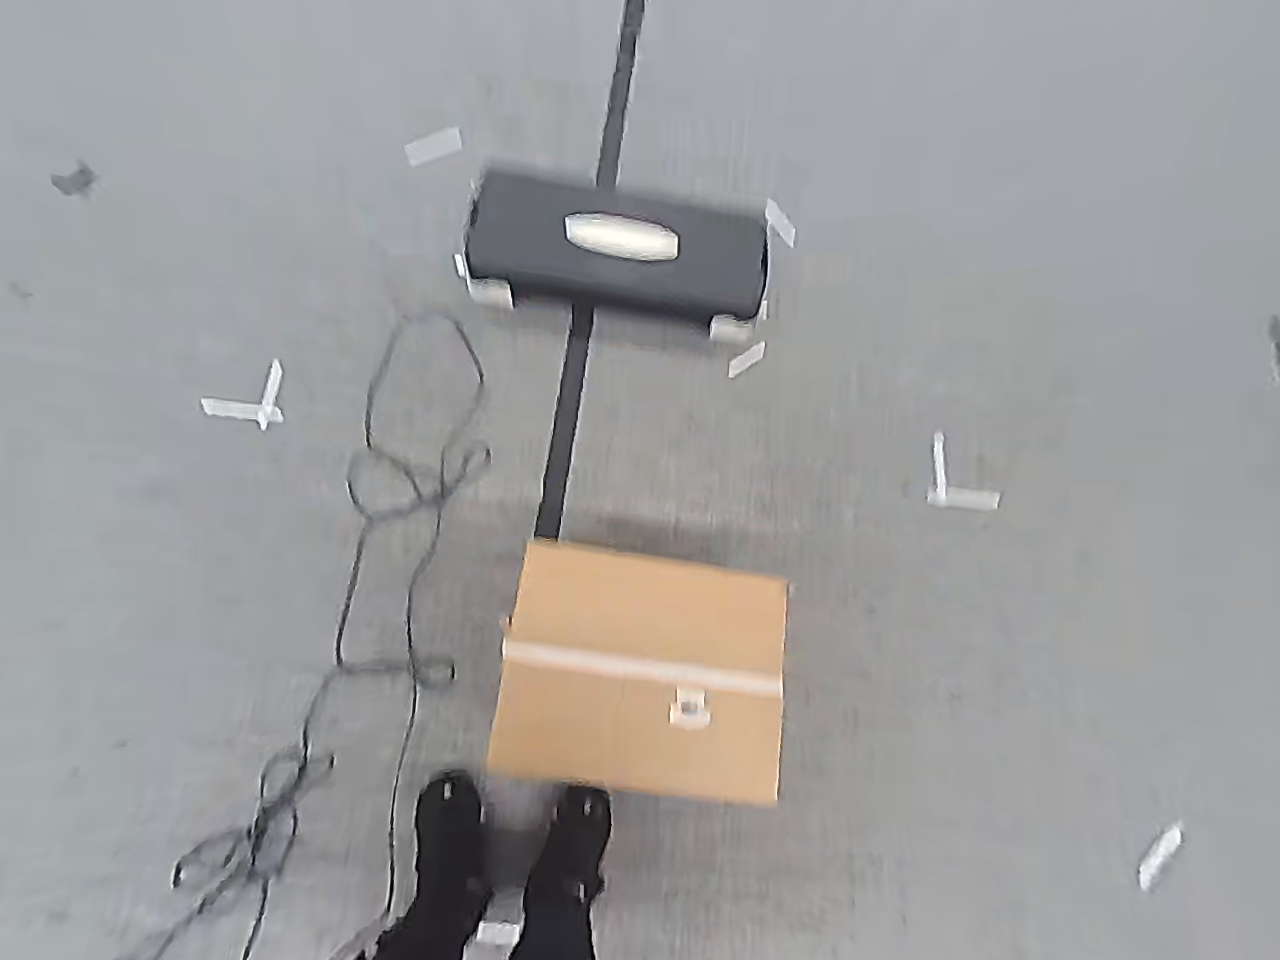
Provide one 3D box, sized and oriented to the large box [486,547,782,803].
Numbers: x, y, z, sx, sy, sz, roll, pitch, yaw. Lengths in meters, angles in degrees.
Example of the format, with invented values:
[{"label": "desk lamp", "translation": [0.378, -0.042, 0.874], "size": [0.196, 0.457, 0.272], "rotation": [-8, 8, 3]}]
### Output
[{"label": "large box", "translation": [-0.014, 0.316, 0.917], "size": [0.408, 0.320, 0.320], "rotation": [10, 73, -5]}]
